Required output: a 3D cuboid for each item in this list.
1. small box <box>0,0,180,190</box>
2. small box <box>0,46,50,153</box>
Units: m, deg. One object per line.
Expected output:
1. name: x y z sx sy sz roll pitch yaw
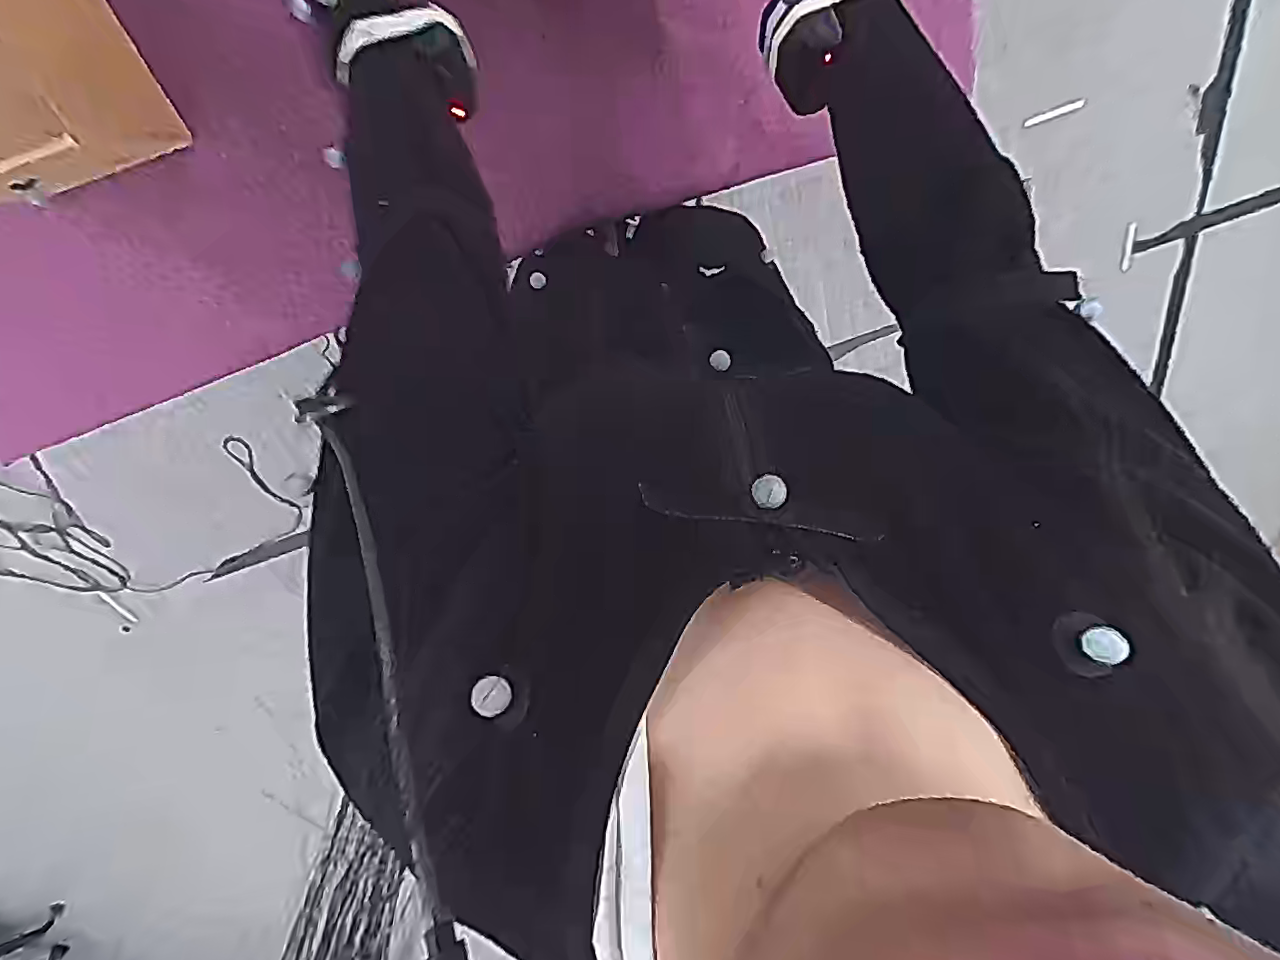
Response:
1. small box: -0.517 -0.331 0.408 0.168 0.176 0.179 -19 123 1
2. small box: -0.493 -0.251 0.267 0.168 0.176 0.179 -19 122 2
